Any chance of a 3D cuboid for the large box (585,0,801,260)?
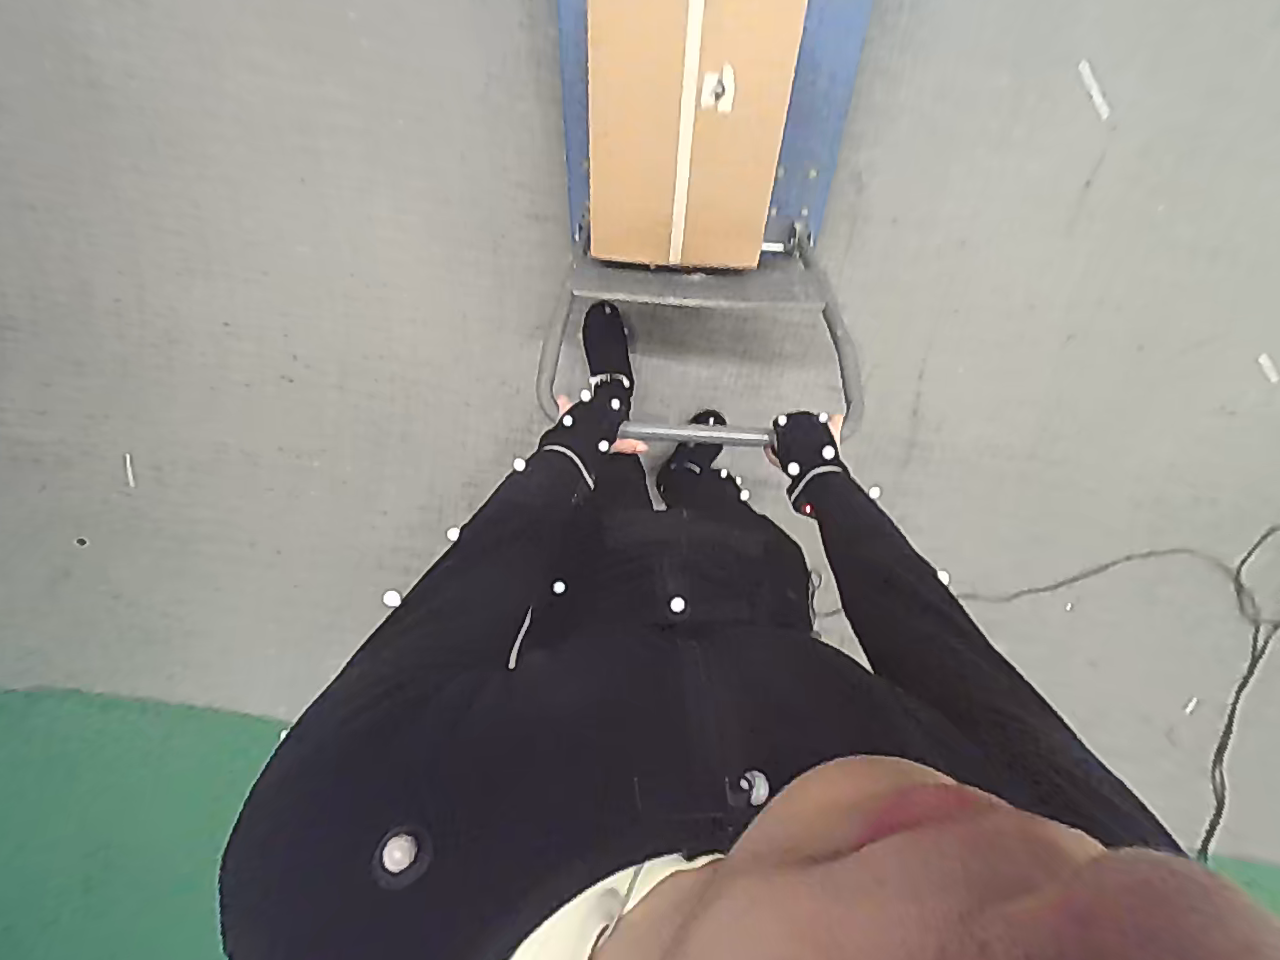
[{"bbox_3d":[0.081,-0.660,0.987,0.320,0.320,0.408,4,131,1],"label":"large box"}]
